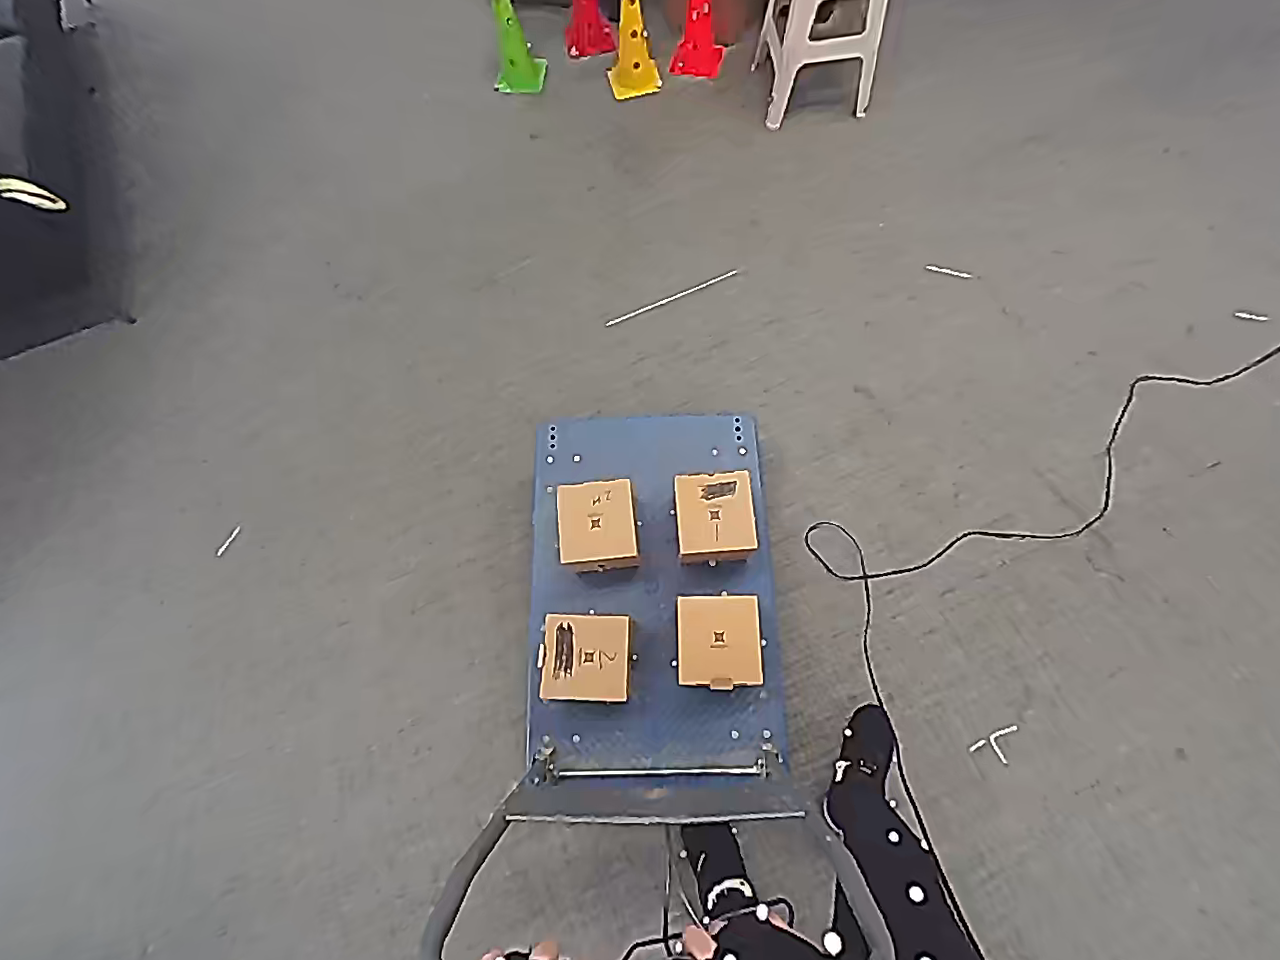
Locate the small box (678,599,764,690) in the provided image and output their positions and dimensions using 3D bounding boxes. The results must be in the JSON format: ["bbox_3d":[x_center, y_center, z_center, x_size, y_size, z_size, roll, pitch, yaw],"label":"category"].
[{"bbox_3d":[0.166,0.352,1.160,0.168,0.176,0.179,-1,74,3],"label":"small box"}]

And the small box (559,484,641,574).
[{"bbox_3d":[-0.088,0.120,1.244,0.168,0.176,0.179,-6,73,1],"label":"small box"}]

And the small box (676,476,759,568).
[{"bbox_3d":[0.169,0.100,1.235,0.168,0.176,0.179,-4,74,3],"label":"small box"}]
